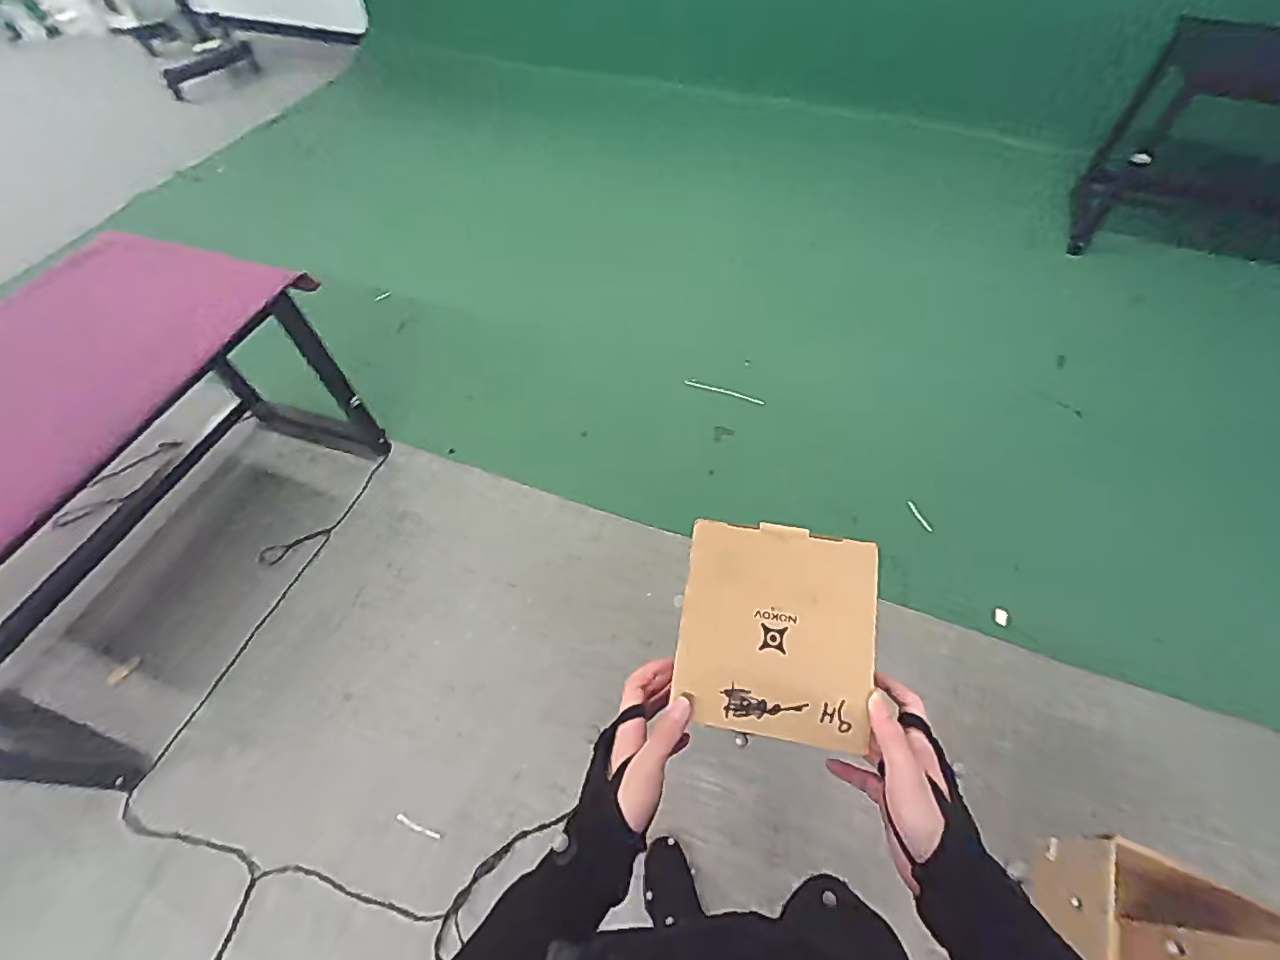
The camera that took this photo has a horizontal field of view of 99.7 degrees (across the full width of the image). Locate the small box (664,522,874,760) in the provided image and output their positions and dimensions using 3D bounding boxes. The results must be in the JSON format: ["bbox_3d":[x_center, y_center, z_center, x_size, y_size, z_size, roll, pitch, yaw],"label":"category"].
[{"bbox_3d":[0.120,0.155,0.537,0.168,0.176,0.179,7,73,9],"label":"small box"}]
